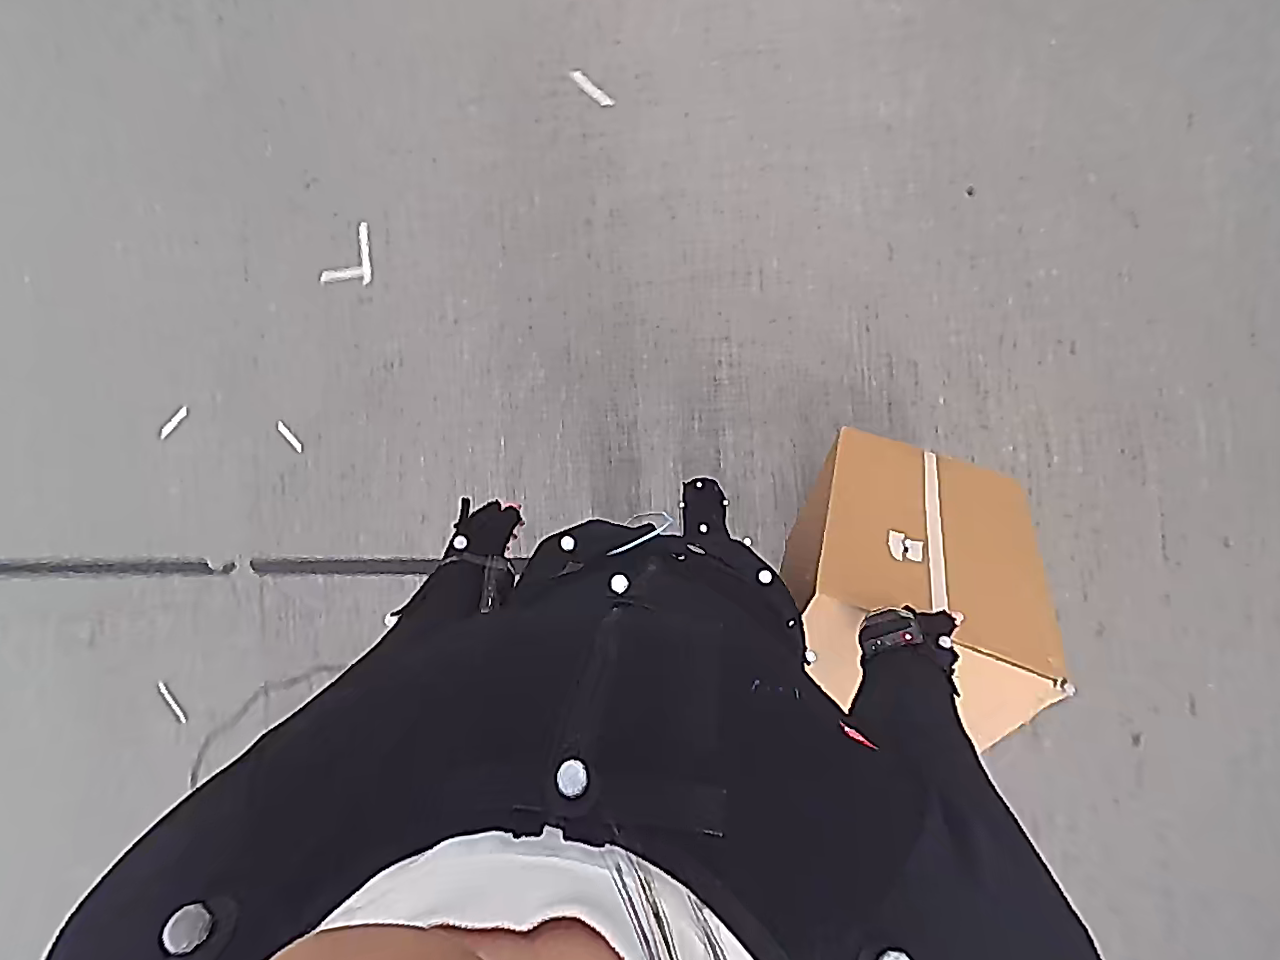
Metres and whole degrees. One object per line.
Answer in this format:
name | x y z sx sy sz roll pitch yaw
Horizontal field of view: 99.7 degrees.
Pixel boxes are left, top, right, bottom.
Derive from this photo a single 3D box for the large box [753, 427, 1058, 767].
large box | 0.411 0.180 0.915 0.320 0.408 0.320 18 135 12
